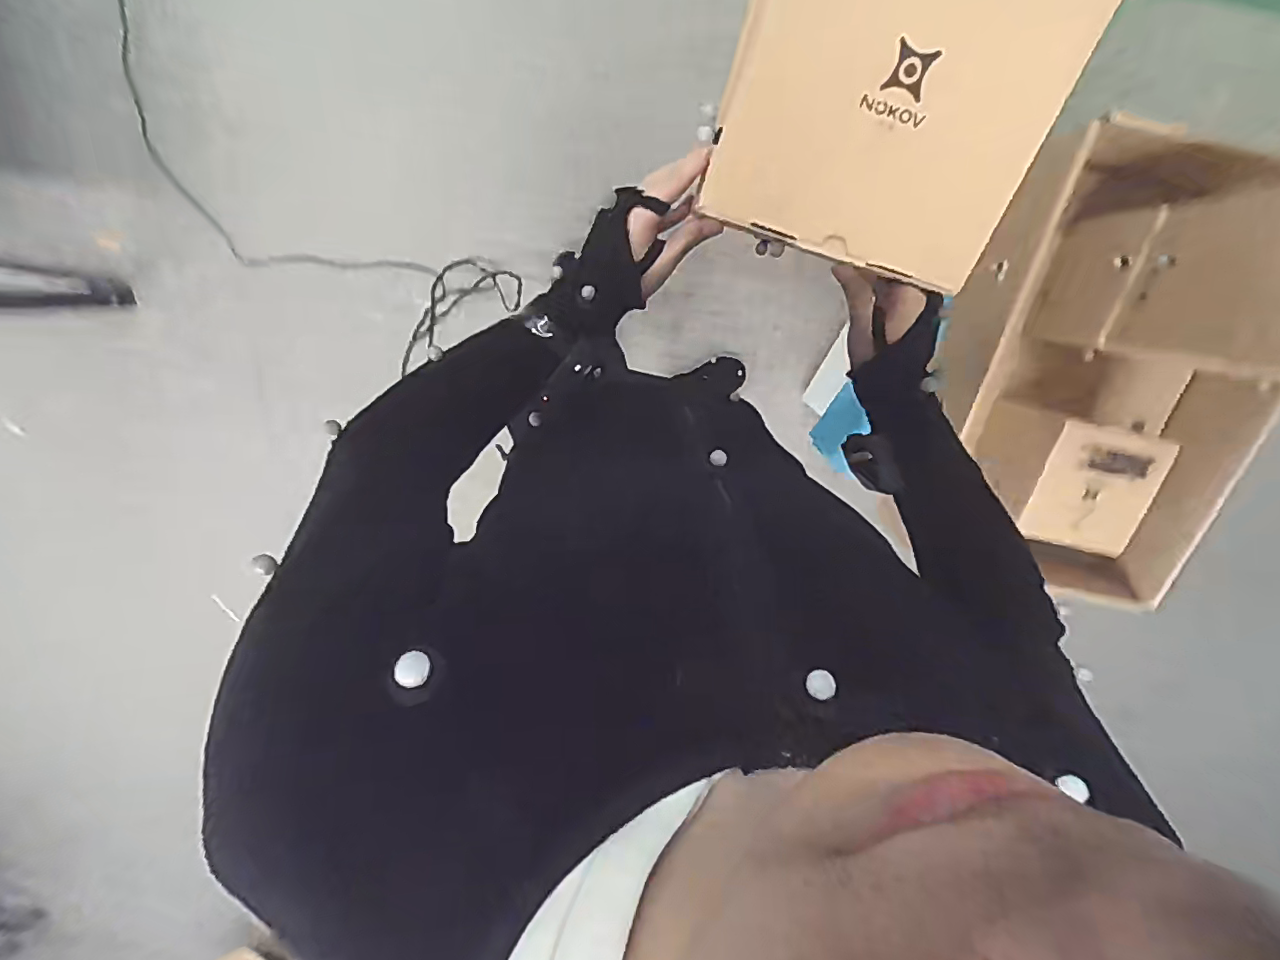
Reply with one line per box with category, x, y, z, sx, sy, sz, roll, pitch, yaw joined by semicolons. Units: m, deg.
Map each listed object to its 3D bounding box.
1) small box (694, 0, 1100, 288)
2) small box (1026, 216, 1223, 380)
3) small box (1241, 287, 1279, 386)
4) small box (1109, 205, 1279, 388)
small box;0.135;-0.246;0.350;0.168;0.176;0.179;15;118;-3
small box;0.697;-0.250;0.748;0.179;0.176;0.168;13;109;-2
small box;0.679;-0.144;0.439;0.168;0.176;0.179;13;109;-1
small box;0.693;-0.196;0.594;0.179;0.176;0.168;13;110;-1
